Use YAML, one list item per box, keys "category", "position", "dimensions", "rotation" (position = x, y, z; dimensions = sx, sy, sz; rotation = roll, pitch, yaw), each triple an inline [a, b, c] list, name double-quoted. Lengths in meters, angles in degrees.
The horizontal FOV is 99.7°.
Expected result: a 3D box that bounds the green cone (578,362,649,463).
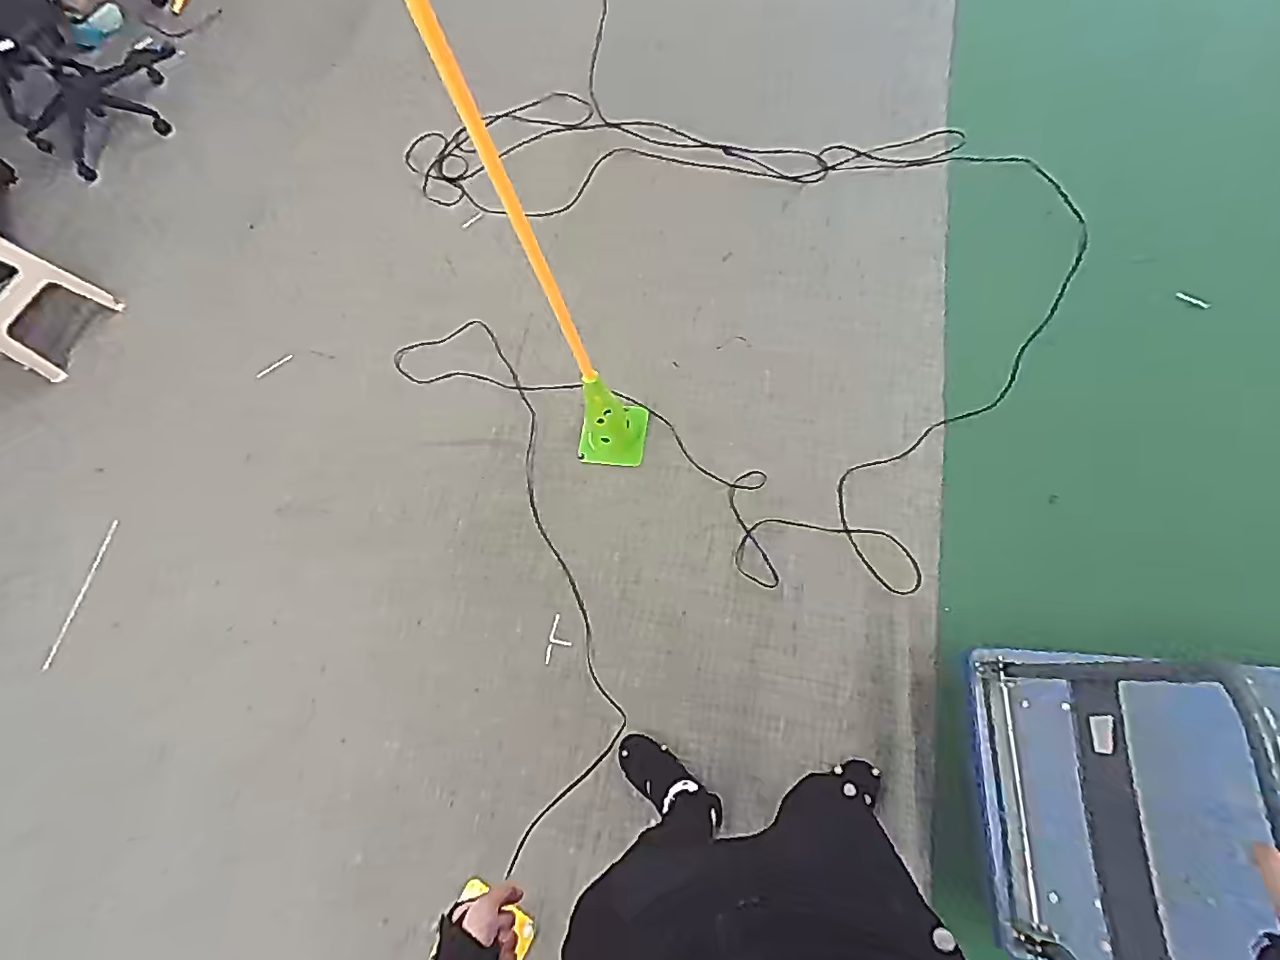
- category: "green cone"
  position: [-0.100, -0.208, 1.497]
  dimensions: [0.200, 0.368, 0.202]
  rotation: [5, 70, 8]
